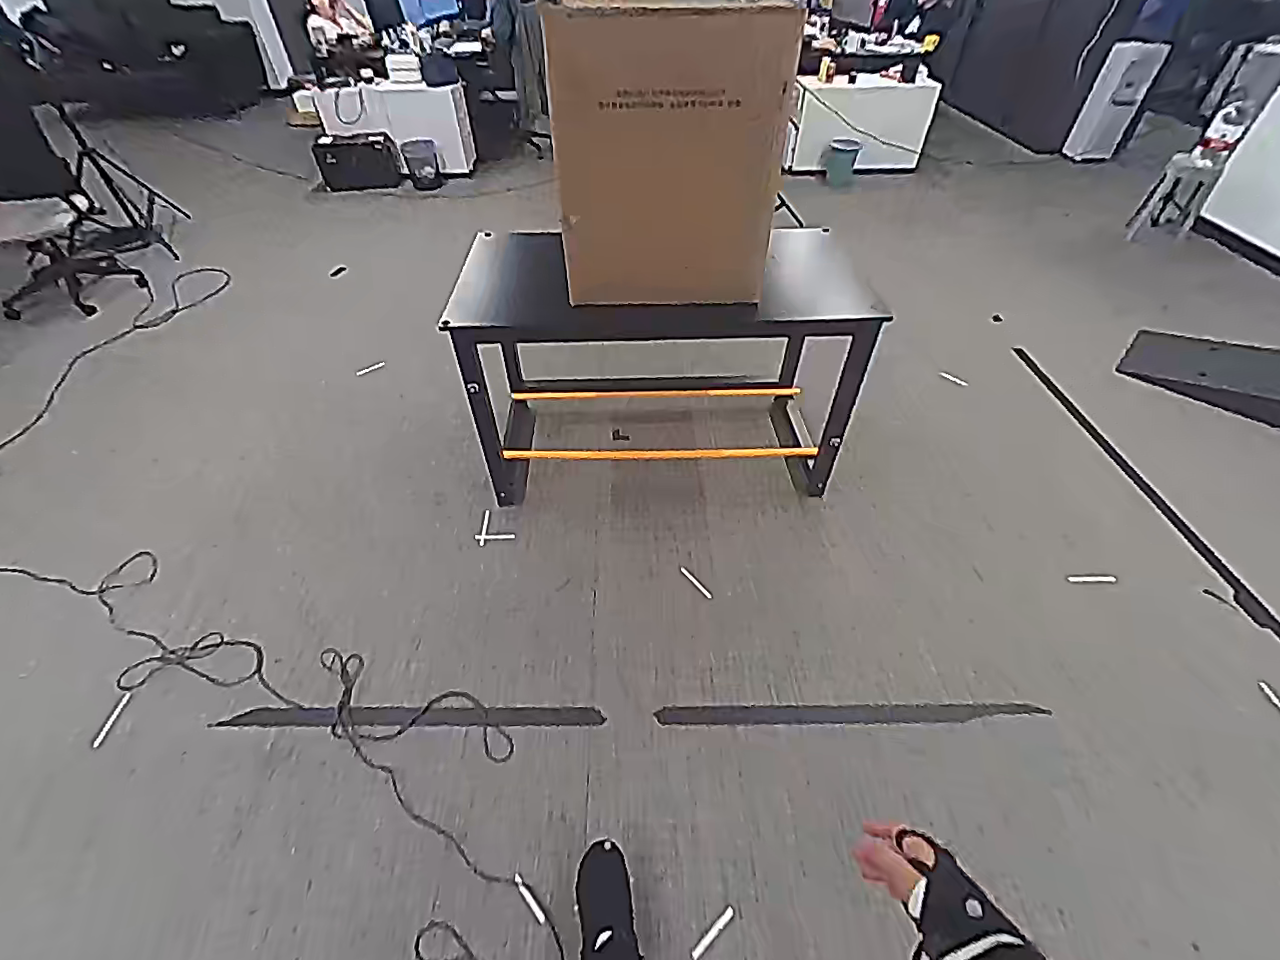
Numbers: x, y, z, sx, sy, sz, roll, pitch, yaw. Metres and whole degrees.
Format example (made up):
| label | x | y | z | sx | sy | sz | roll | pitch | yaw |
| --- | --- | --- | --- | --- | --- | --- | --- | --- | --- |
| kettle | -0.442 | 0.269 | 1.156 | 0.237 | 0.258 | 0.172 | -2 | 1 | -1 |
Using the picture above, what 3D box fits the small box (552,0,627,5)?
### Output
| label | x | y | z | sx | sy | sz | roll | pitch | yaw |
| --- | --- | --- | --- | --- | --- | --- | --- | --- | --- |
| small box | -0.114 | -1.127 | 1.146 | 0.168 | 0.176 | 0.179 | -4 | 45 | -3 |
